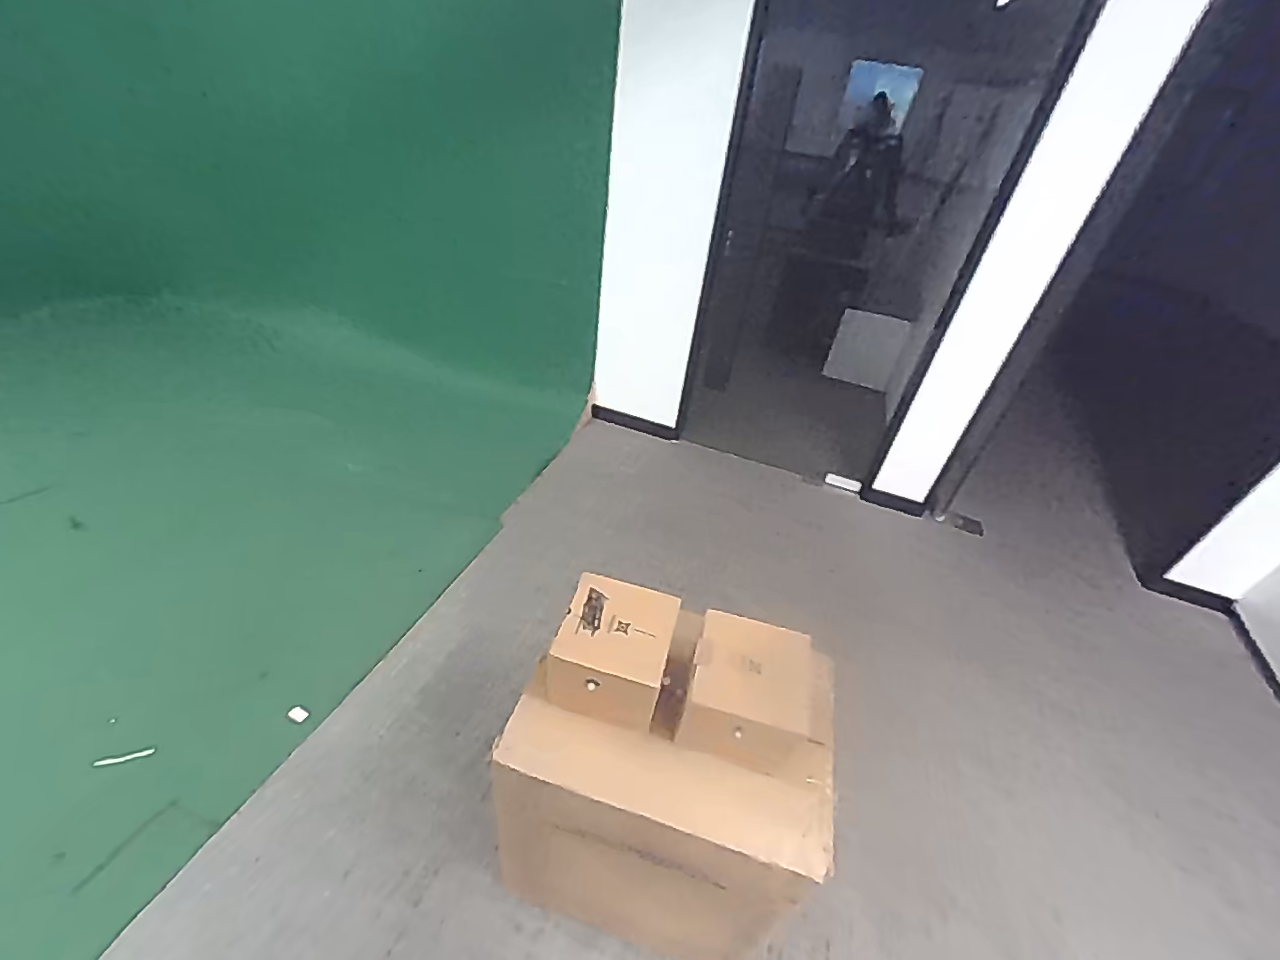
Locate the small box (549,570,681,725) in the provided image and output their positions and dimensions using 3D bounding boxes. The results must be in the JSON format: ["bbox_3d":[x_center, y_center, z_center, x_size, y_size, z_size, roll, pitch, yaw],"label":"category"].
[{"bbox_3d":[-0.043,0.285,0.914,0.179,0.176,0.168,15,44,7],"label":"small box"}]

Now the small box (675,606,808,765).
[{"bbox_3d":[0.163,0.340,0.887,0.179,0.176,0.168,15,45,5],"label":"small box"}]
